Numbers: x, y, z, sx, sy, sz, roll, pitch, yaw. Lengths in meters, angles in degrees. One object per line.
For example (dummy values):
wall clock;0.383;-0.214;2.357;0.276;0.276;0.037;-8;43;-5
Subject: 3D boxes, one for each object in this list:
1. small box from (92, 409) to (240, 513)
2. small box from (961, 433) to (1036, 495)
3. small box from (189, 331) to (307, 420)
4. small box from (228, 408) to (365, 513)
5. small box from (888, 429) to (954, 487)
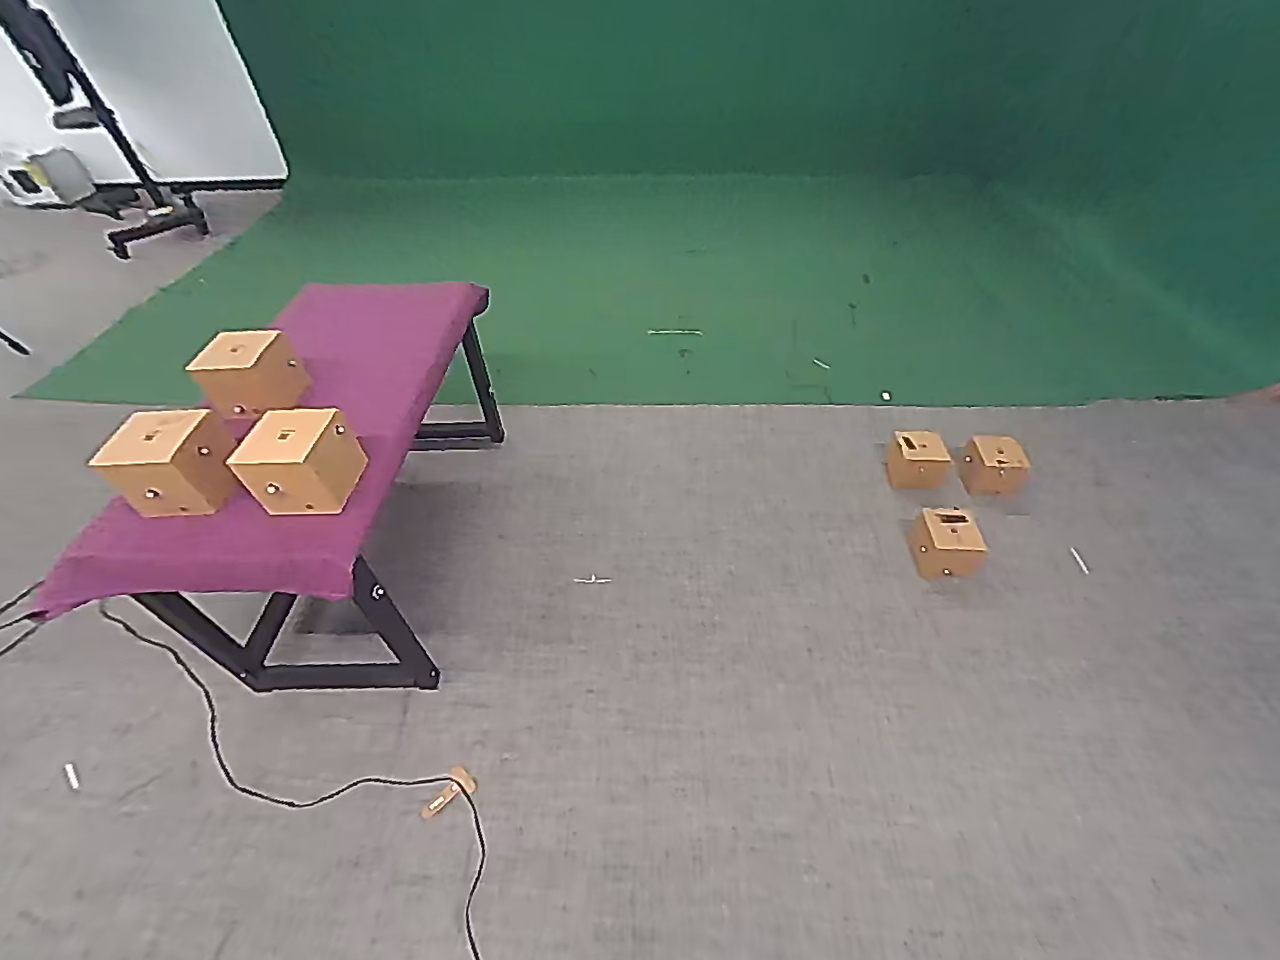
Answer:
small box;-1.038;-0.037;1.215;0.168;0.176;0.179;-2;46;-1
small box;1.402;-0.064;2.132;0.168;0.176;0.179;2;46;5
small box;-1.035;-0.279;1.451;0.168;0.176;0.179;-2;47;1
small box;-0.748;-0.039;1.205;0.168;0.176;0.179;-1;45;4
small box;1.115;-0.086;2.163;0.179;0.176;0.168;1;47;3
